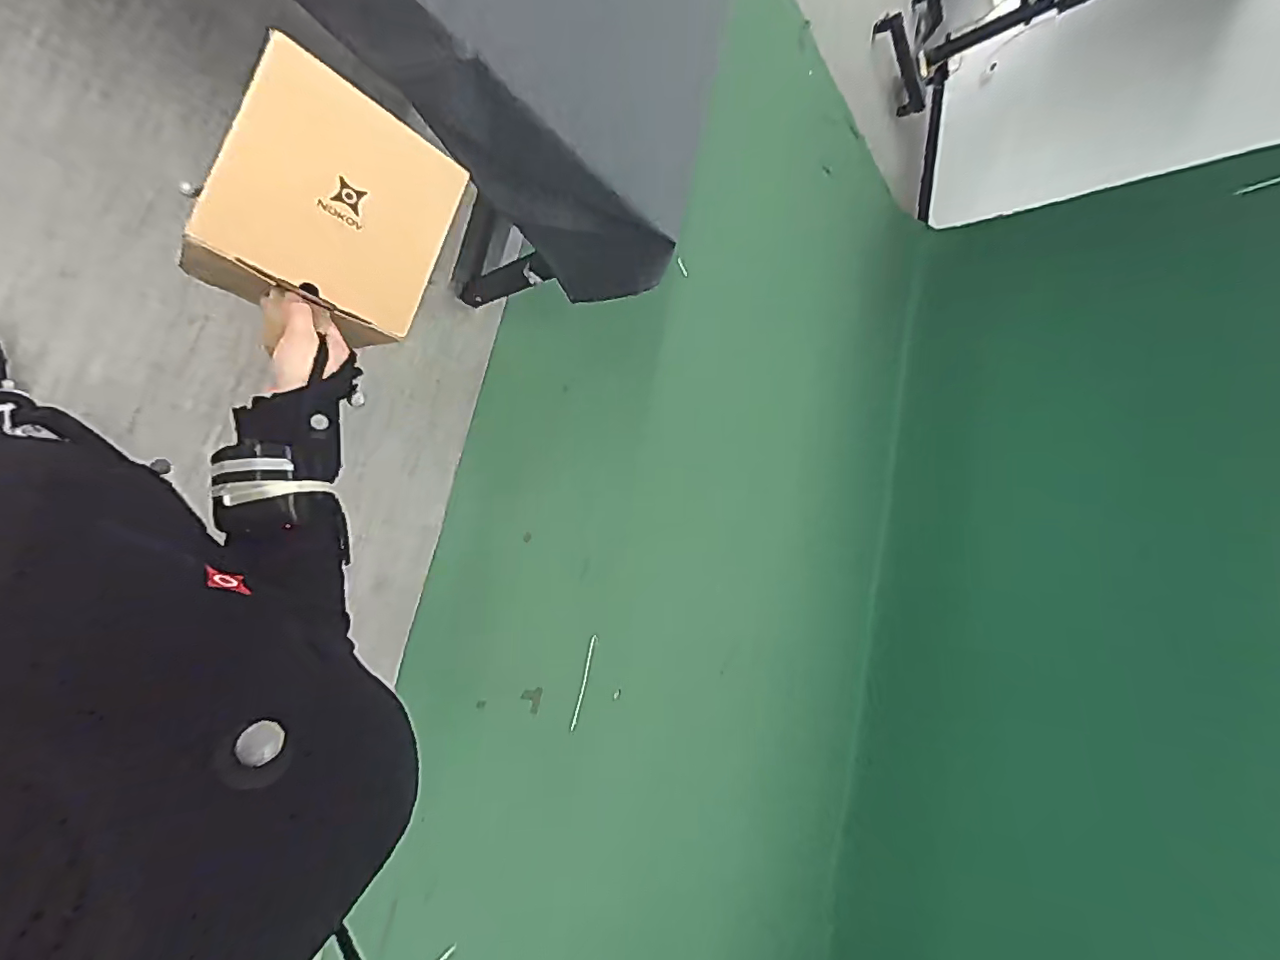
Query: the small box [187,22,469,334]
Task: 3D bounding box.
[{"bbox_3d":[-0.295,-0.253,0.507,0.168,0.176,0.179,23,85,-43],"label":"small box"}]
